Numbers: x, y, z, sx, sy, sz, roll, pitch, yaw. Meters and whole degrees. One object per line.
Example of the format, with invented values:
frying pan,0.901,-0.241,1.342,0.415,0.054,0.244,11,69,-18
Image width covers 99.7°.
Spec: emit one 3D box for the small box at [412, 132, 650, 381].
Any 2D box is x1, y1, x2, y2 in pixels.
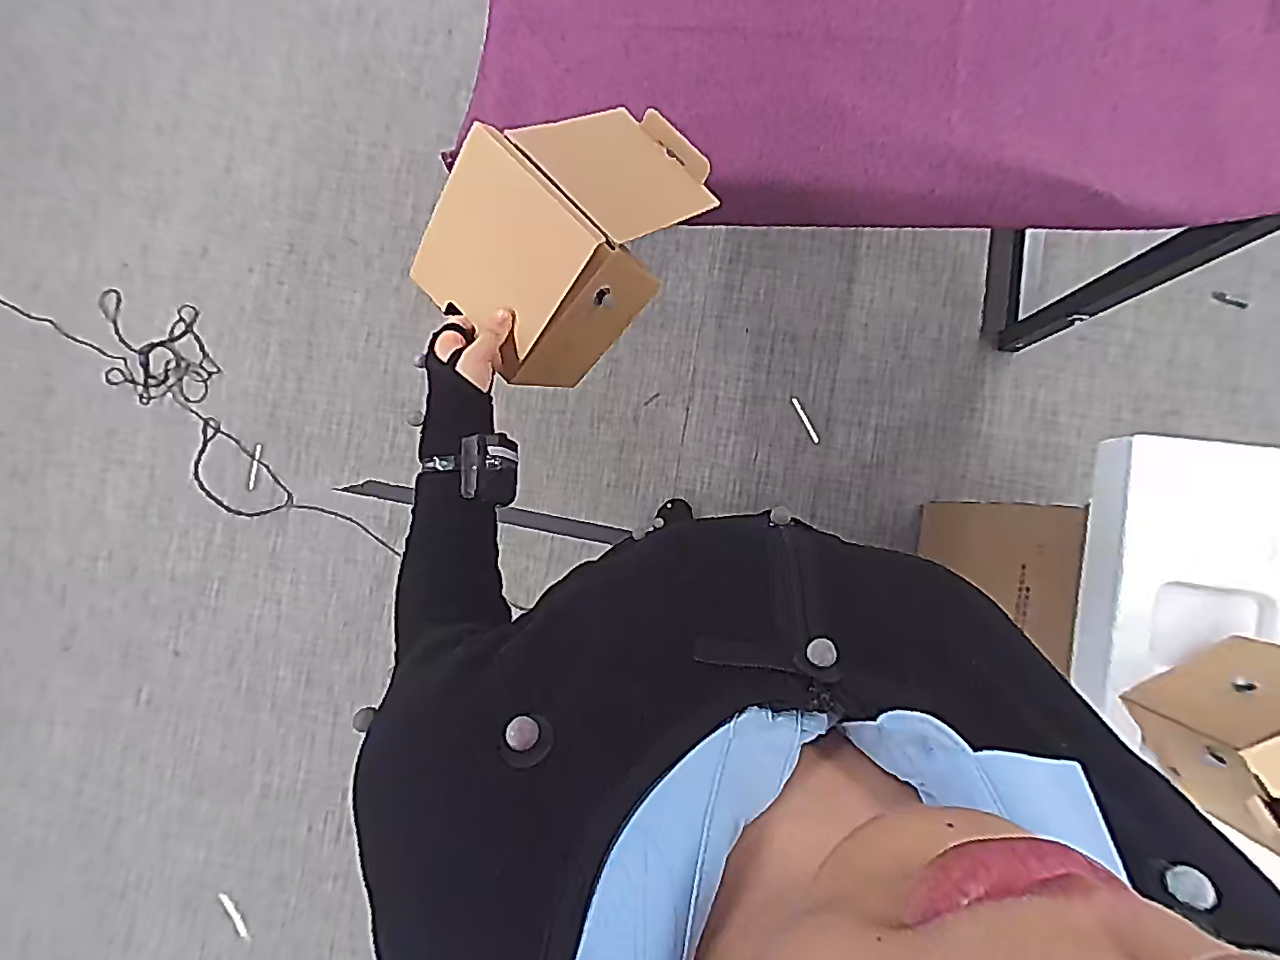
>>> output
small box,-0.107,-0.232,0.613,0.179,0.176,0.168,-45,82,18
